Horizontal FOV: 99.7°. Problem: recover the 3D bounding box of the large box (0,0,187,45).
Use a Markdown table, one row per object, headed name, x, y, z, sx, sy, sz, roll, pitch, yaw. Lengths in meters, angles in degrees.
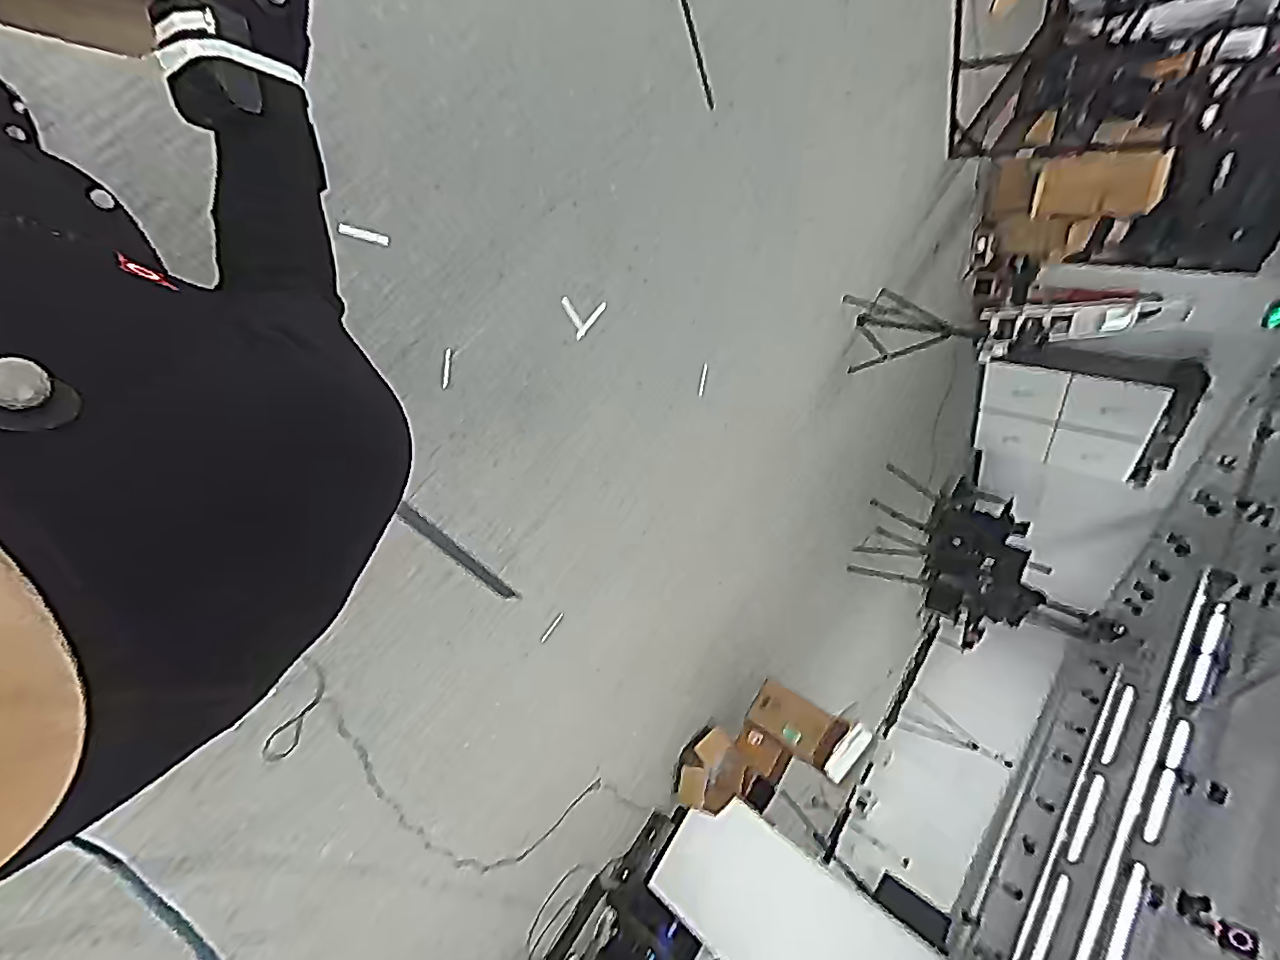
| name | x | y | z | sx | sy | sz | roll | pitch | yaw |
| --- | --- | --- | --- | --- | --- | --- | --- | --- | --- |
| large box | -0.533 | -0.486 | 0.272 | 0.408 | 0.320 | 0.320 | -19 | 125 | -45 |
